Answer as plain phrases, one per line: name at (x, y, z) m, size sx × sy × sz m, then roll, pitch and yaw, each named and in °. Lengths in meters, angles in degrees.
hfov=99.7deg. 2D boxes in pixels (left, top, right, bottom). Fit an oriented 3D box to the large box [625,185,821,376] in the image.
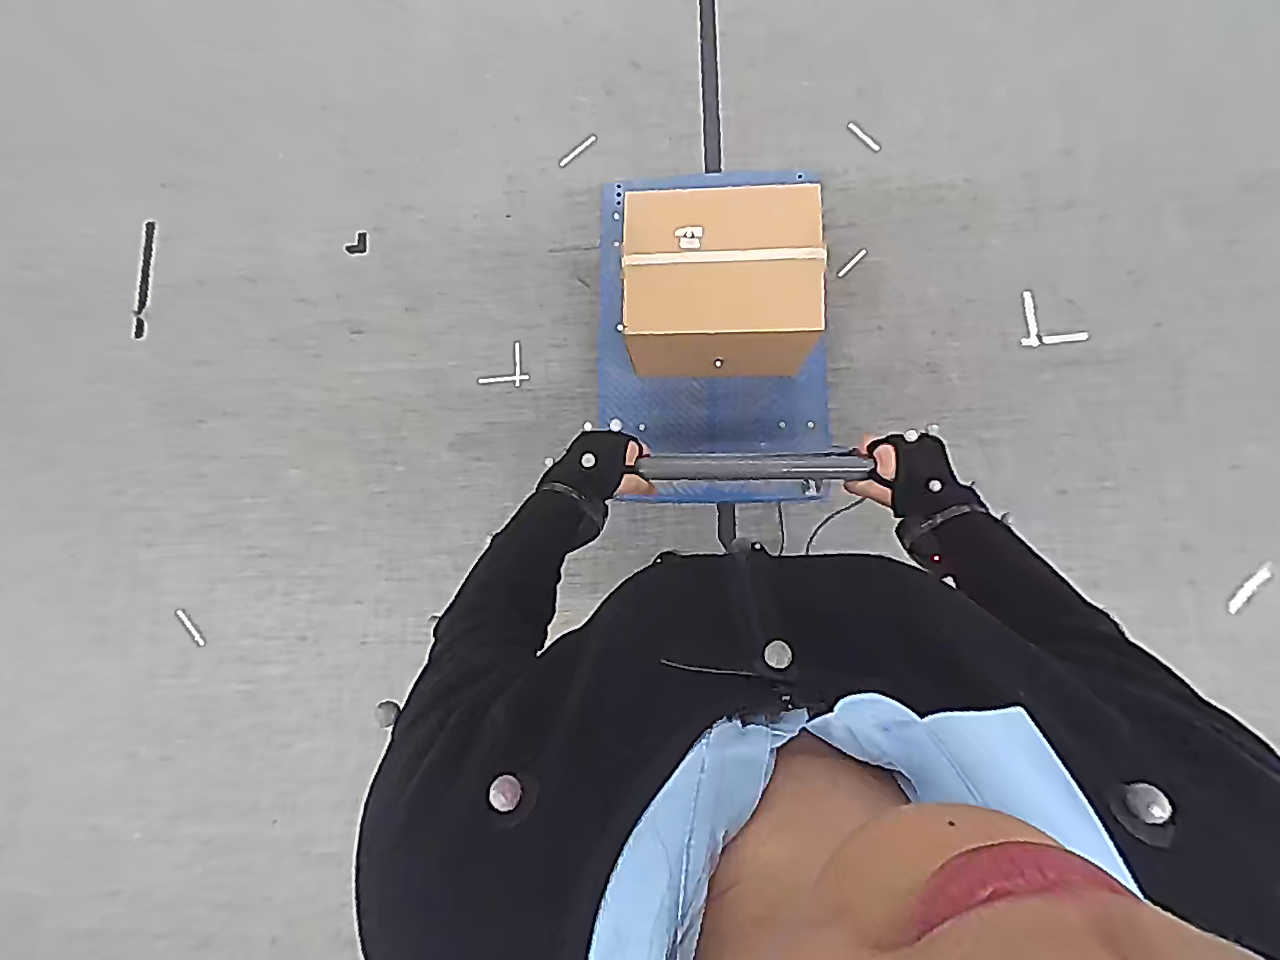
large box at (0.184, -0.441, 1.270) m, size 0.408 × 0.320 × 0.320 m, roll 0°, pitch 83°, yaw 6°
